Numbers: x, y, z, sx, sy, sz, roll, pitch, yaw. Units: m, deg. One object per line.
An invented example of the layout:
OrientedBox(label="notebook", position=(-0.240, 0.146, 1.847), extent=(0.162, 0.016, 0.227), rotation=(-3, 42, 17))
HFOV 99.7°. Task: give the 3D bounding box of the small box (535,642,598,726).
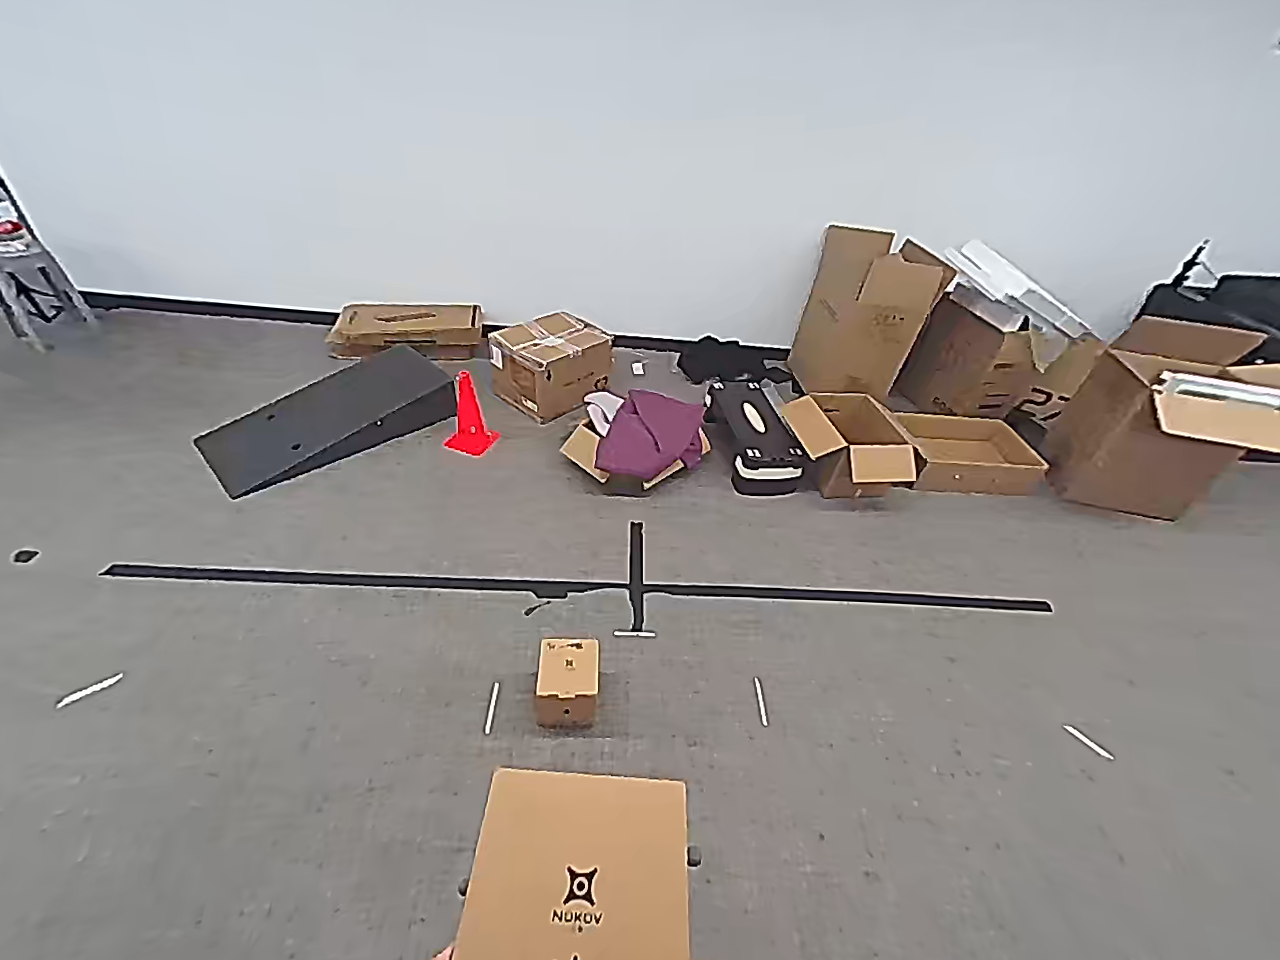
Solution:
OrientedBox(label="small box", position=(-0.205, 0.585, 1.547), extent=(0.168, 0.176, 0.179), rotation=(2, 40, -5))

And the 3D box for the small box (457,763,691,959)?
OrientedBox(label="small box", position=(-0.049, 0.368, 0.458), extent=(0.168, 0.176, 0.179), rotation=(4, 43, 0))
